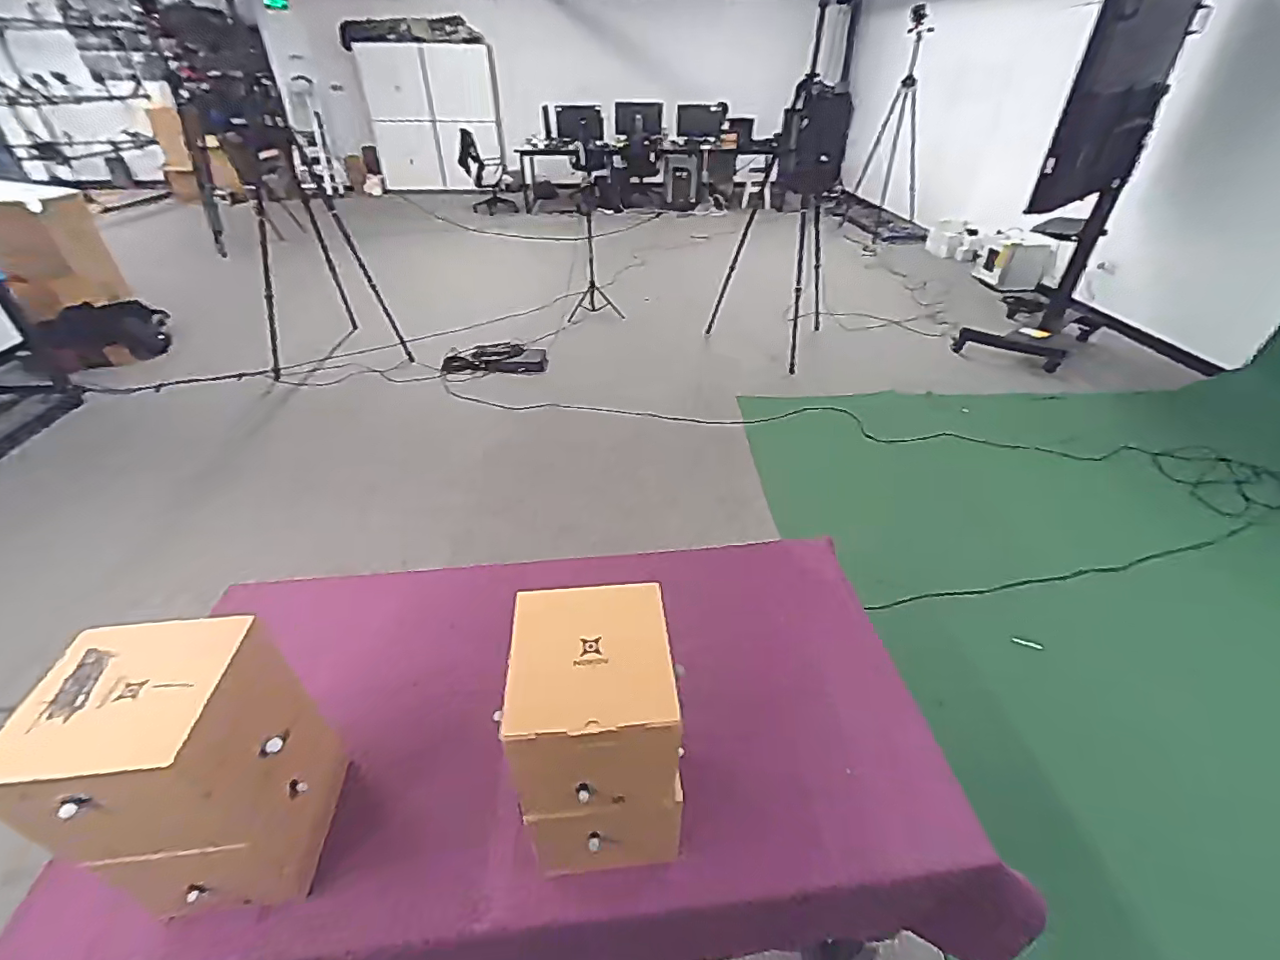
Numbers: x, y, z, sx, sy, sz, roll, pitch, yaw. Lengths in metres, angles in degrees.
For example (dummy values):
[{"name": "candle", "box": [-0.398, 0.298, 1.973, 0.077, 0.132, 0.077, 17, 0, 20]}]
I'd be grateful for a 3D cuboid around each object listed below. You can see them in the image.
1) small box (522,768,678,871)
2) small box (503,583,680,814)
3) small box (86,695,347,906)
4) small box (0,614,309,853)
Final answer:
[{"name": "small box", "box": [-0.048, 0.375, 0.699, 0.179, 0.176, 0.168, -5, 37, -5]}, {"name": "small box", "box": [-0.052, 0.240, 0.607, 0.168, 0.176, 0.179, -3, 37, -4]}, {"name": "small box", "box": [-0.494, 0.398, 0.670, 0.168, 0.176, 0.179, -3, 36, -5]}, {"name": "small box", "box": [-0.495, 0.266, 0.571, 0.179, 0.176, 0.168, -3, 37, -5]}]
